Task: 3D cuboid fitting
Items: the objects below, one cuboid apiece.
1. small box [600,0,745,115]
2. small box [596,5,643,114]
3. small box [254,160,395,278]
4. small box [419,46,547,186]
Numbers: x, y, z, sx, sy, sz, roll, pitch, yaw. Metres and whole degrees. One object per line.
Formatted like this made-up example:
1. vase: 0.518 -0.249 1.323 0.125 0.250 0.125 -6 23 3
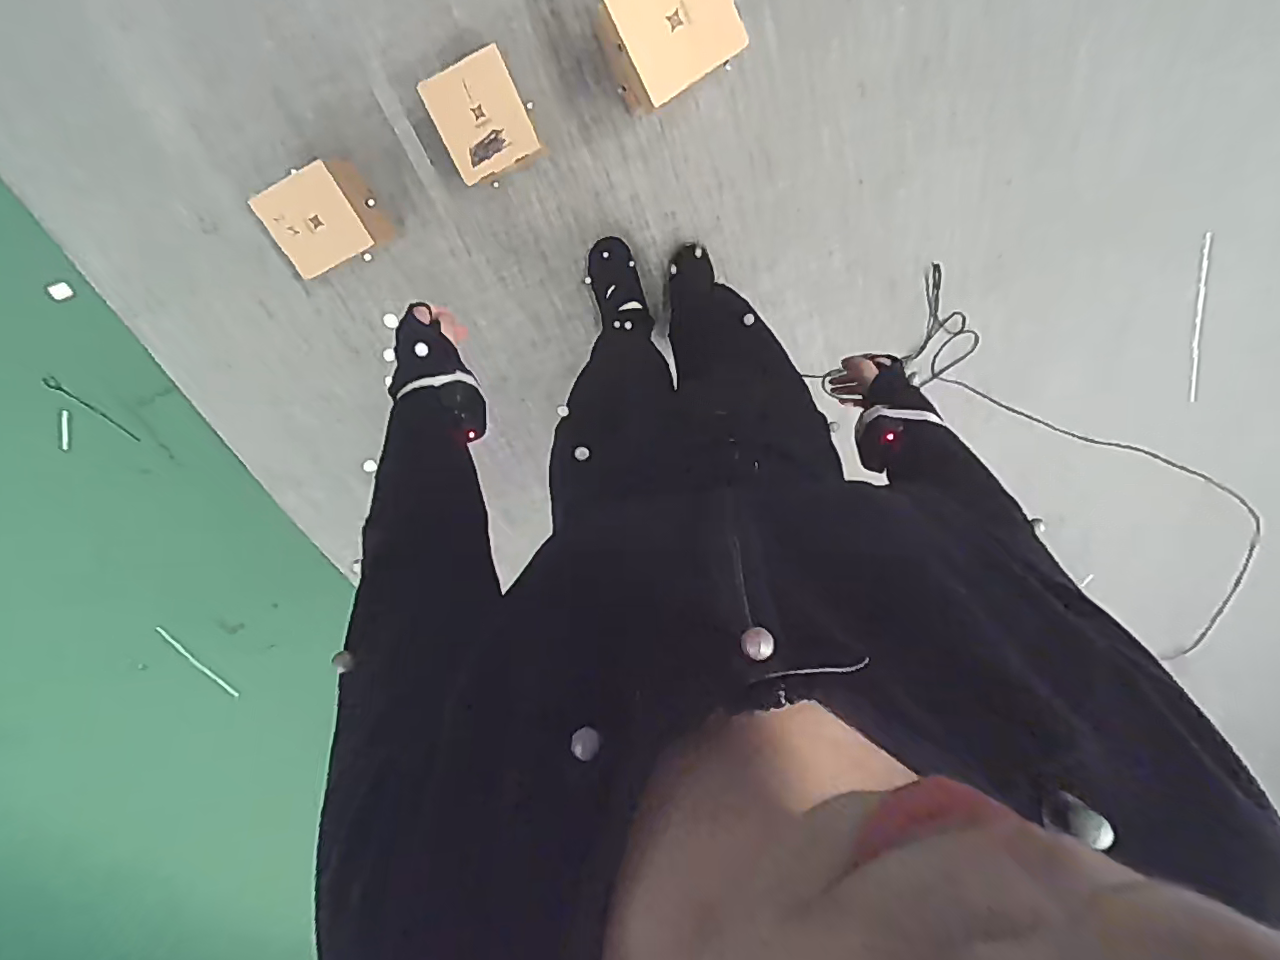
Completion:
1. small box: 0.049 -0.743 0.899 0.179 0.176 0.168 -29 117 11
2. small box: 0.031 -0.833 1.034 0.179 0.176 0.168 -24 118 9
3. small box: -0.648 -0.553 1.144 0.179 0.176 0.168 -23 117 8
4. small box: -0.300 -0.714 1.078 0.168 0.176 0.179 -22 117 8
